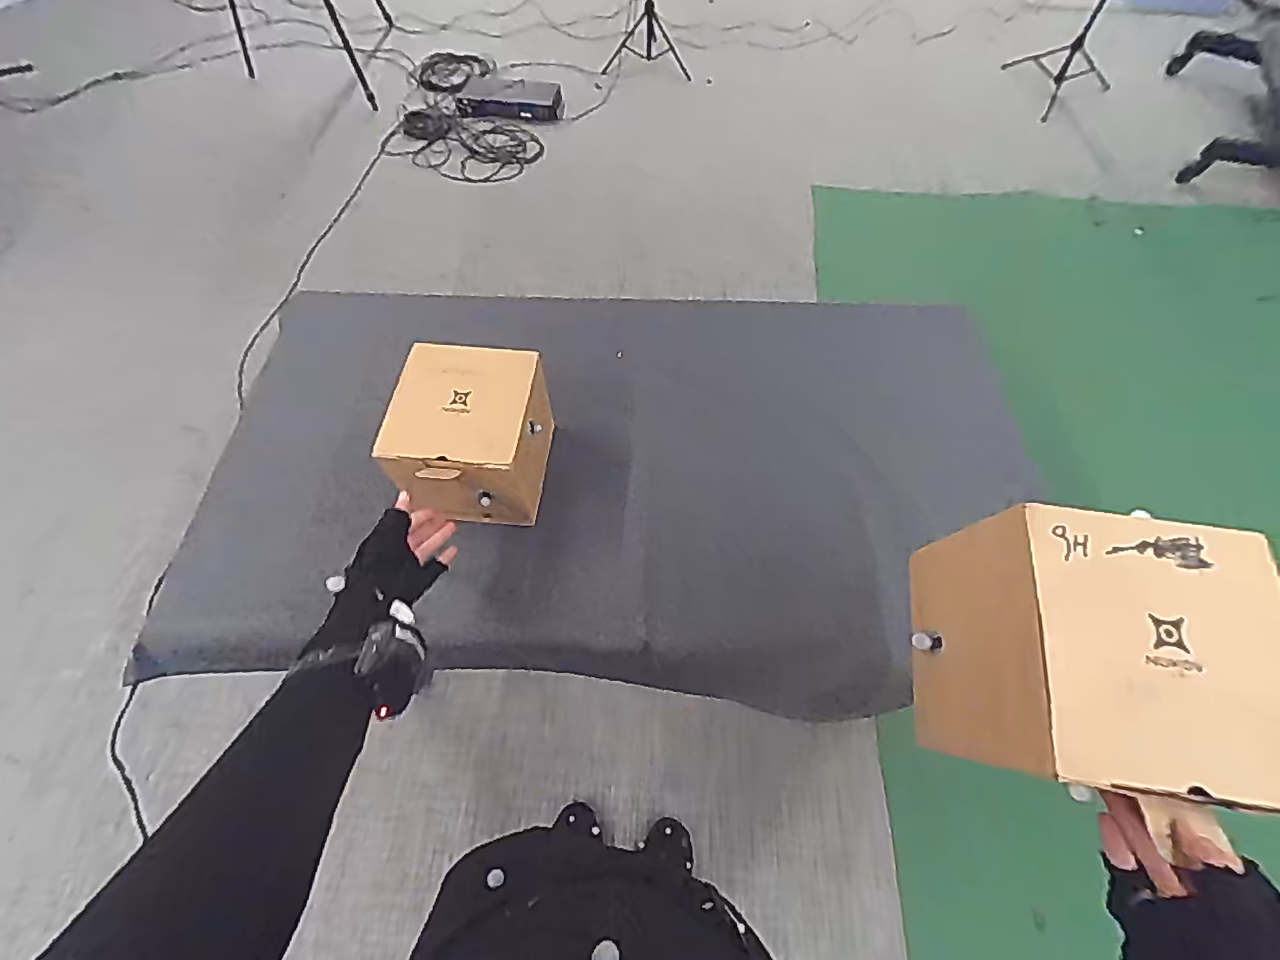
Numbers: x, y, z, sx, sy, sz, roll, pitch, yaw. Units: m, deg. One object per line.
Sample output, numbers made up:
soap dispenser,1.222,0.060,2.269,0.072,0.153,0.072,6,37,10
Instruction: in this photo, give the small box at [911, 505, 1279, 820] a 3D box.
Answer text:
small box,0.332,0.134,0.419,0.168,0.176,0.179,8,71,1

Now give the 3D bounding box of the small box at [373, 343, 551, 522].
small box,-0.220,-0.057,0.725,0.168,0.176,0.179,5,60,1
